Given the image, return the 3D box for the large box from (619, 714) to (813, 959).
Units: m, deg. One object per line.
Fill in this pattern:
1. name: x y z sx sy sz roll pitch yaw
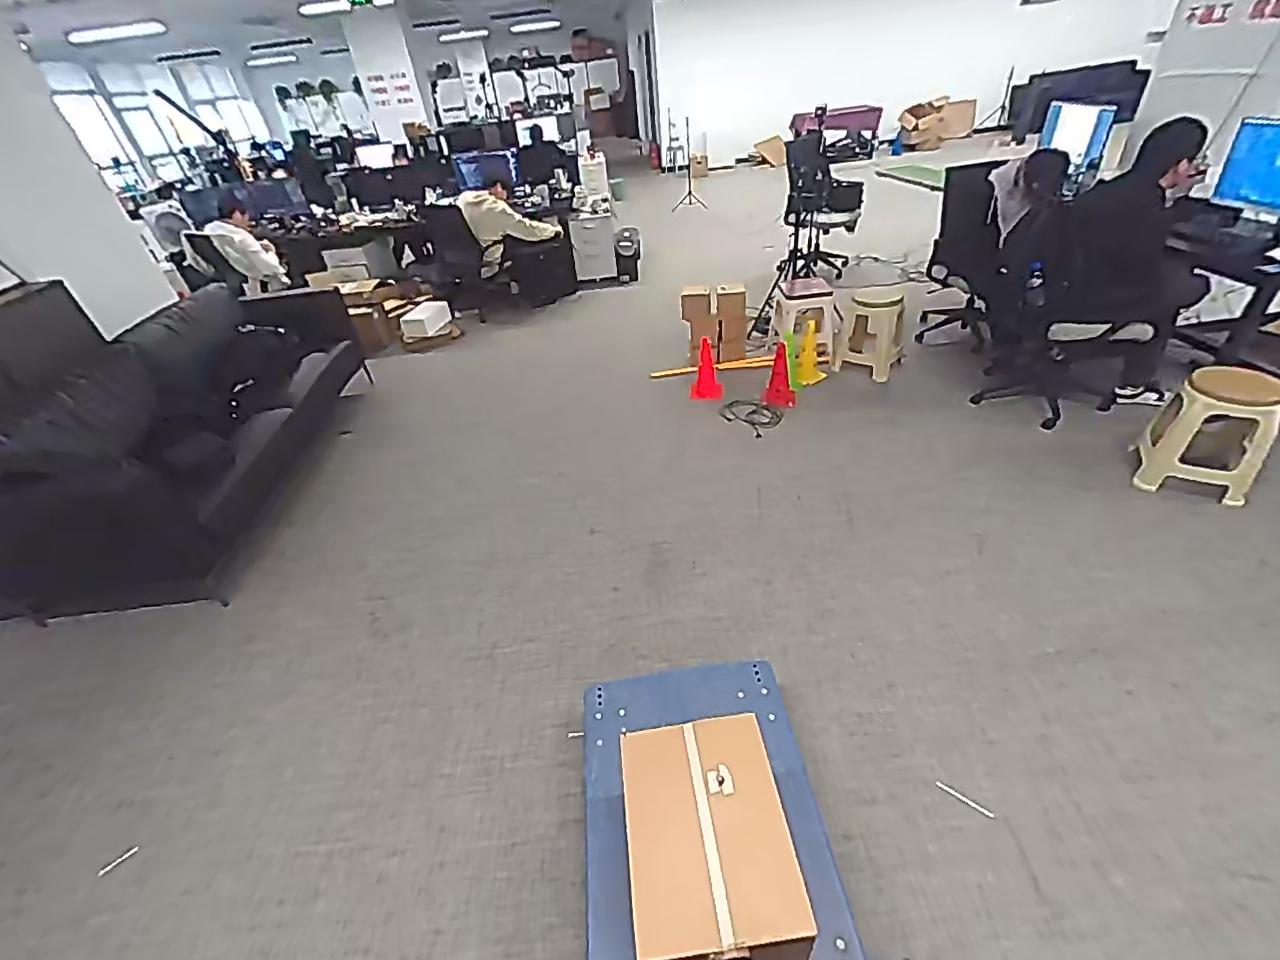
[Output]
1. large box: 0.145 0.795 1.167 0.320 0.320 0.408 -9 37 -1
